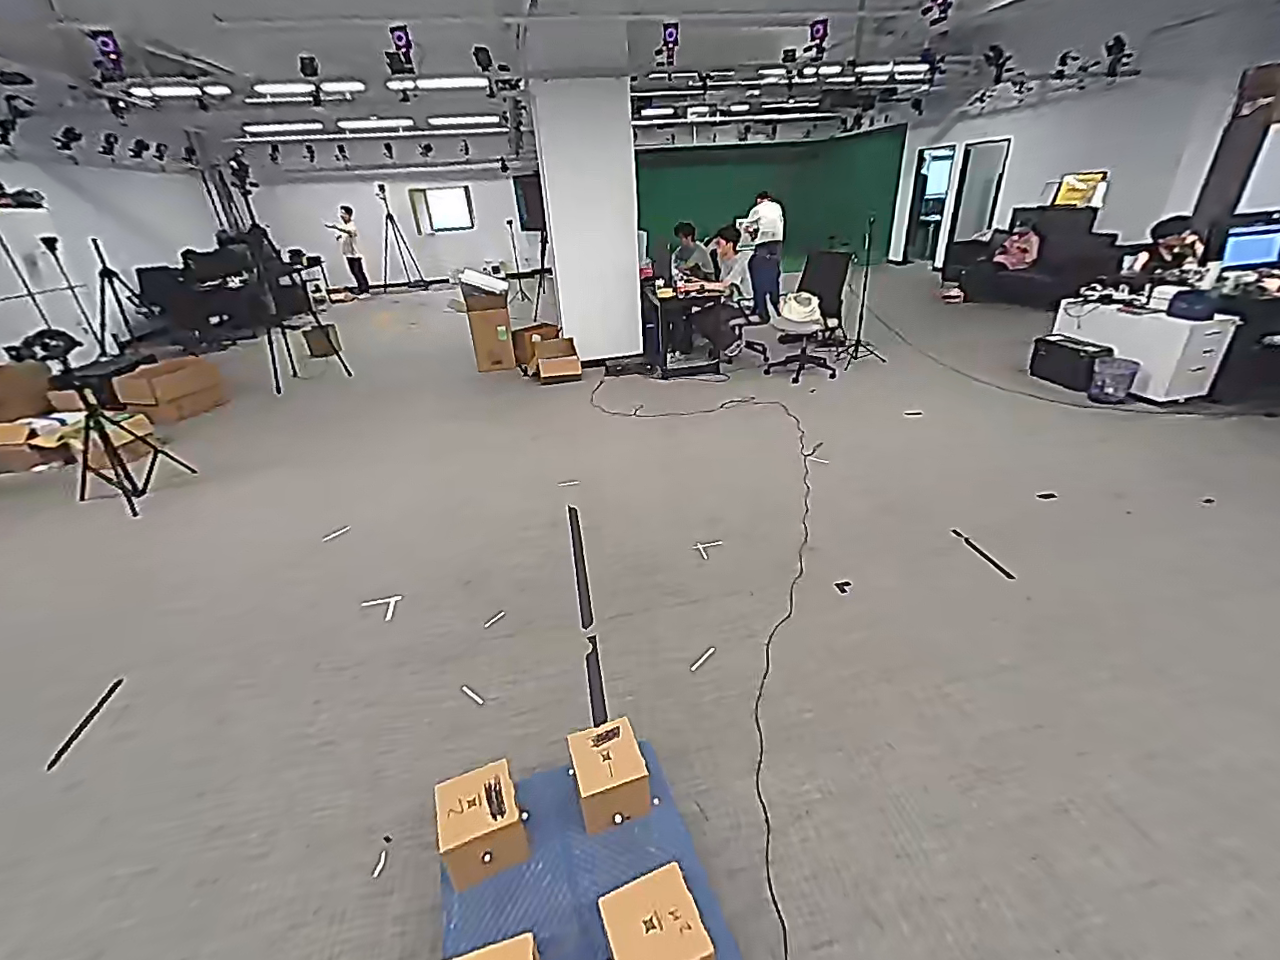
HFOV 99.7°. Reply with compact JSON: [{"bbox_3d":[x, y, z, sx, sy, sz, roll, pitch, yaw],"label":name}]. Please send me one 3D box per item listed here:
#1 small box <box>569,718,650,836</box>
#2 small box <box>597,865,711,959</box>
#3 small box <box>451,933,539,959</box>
[{"bbox_3d":[-0.079,0.751,1.372,0.168,0.176,0.179,-12,30,-14],"label":"small box"},{"bbox_3d":[0.029,0.912,1.054,0.179,0.176,0.168,-14,30,-17],"label":"small box"},{"bbox_3d":[-0.263,0.977,0.971,0.179,0.176,0.168,-9,28,-13],"label":"small box"}]
